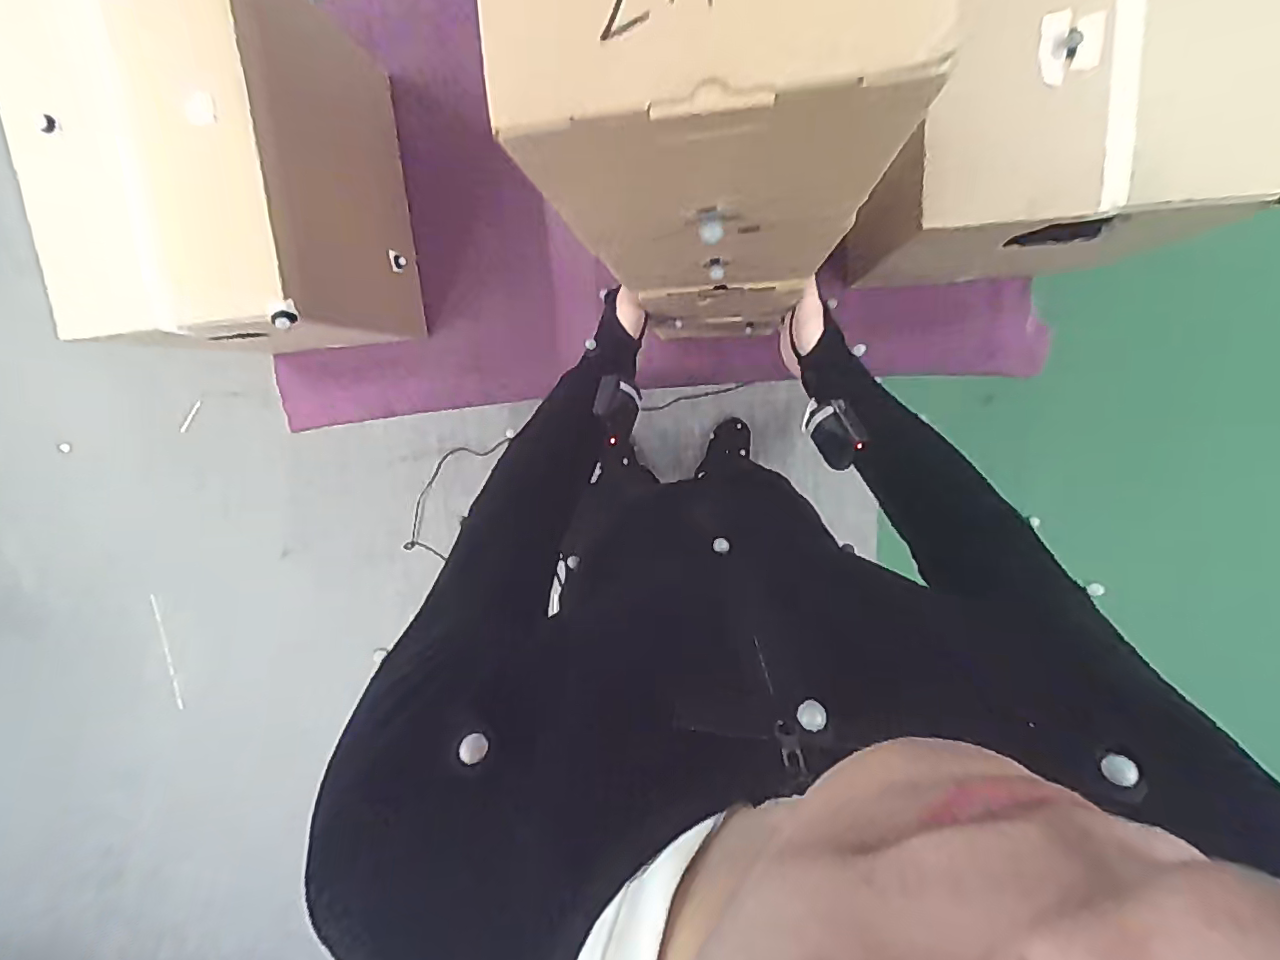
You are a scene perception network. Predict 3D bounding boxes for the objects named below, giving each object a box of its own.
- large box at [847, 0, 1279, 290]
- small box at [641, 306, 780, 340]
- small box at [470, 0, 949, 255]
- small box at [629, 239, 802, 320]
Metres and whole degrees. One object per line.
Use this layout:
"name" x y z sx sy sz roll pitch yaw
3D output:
"large box" 0.422 -0.454 0.599 0.320 0.320 0.408 -2 100 10
"small box" 0.096 -0.288 0.745 0.179 0.176 0.168 -1 99 7
"small box" 0.028 -0.226 0.259 0.168 0.176 0.179 -2 98 9
"small box" 0.080 -0.272 0.580 0.168 0.176 0.179 -1 97 8
